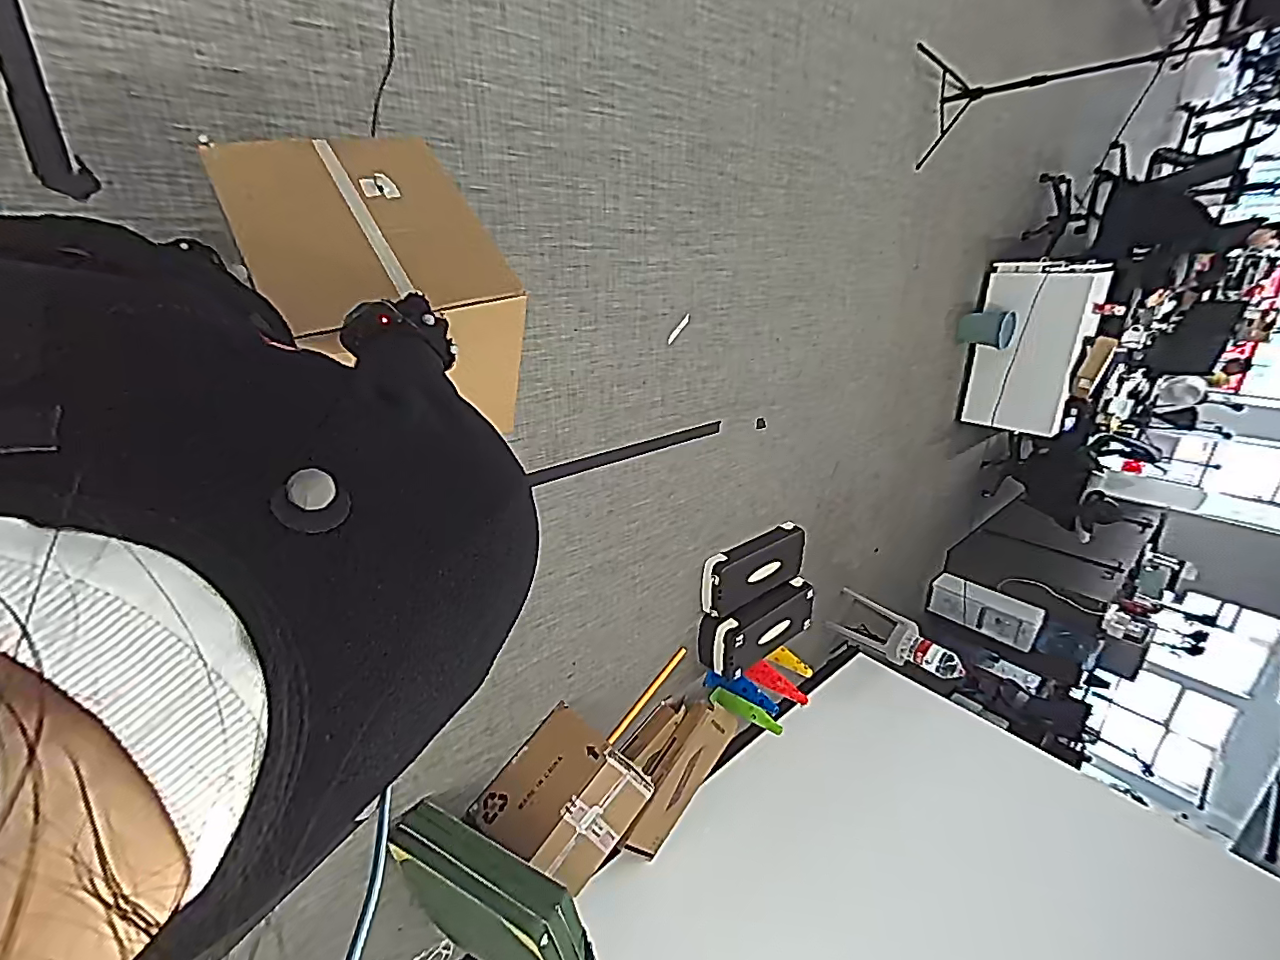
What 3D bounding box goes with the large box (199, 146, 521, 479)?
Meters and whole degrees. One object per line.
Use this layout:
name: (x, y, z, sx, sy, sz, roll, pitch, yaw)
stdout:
large box: (-0.433, -0.278, 0.891, 0.320, 0.408, 0.320, -23, 156, -30)
